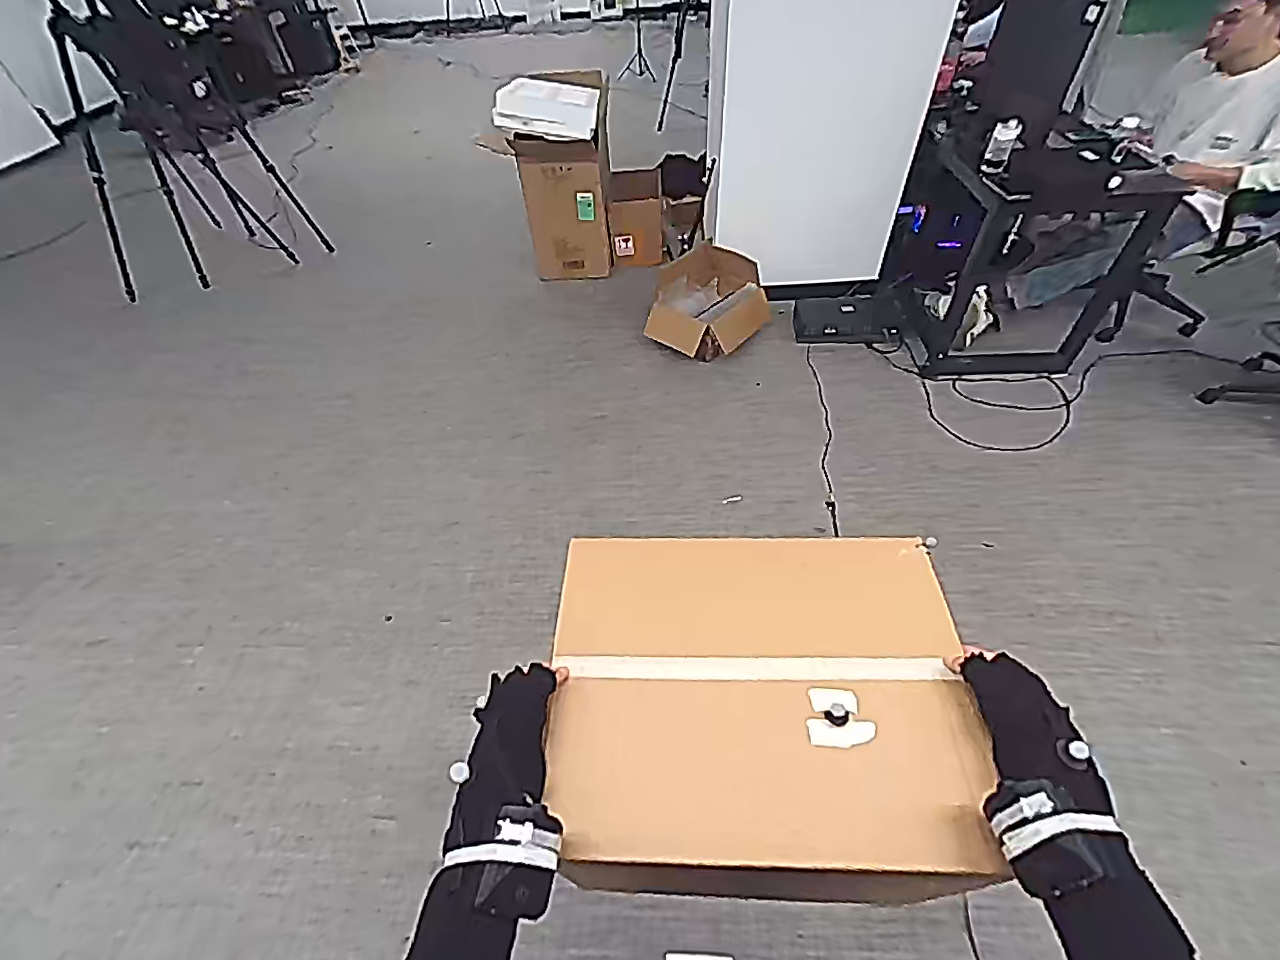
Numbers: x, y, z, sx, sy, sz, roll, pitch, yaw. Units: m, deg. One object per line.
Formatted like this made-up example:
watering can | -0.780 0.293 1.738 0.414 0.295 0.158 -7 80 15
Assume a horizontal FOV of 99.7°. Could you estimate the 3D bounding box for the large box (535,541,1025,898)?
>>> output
large box | 0.117 0.288 0.643 0.408 0.320 0.320 -1 49 3
